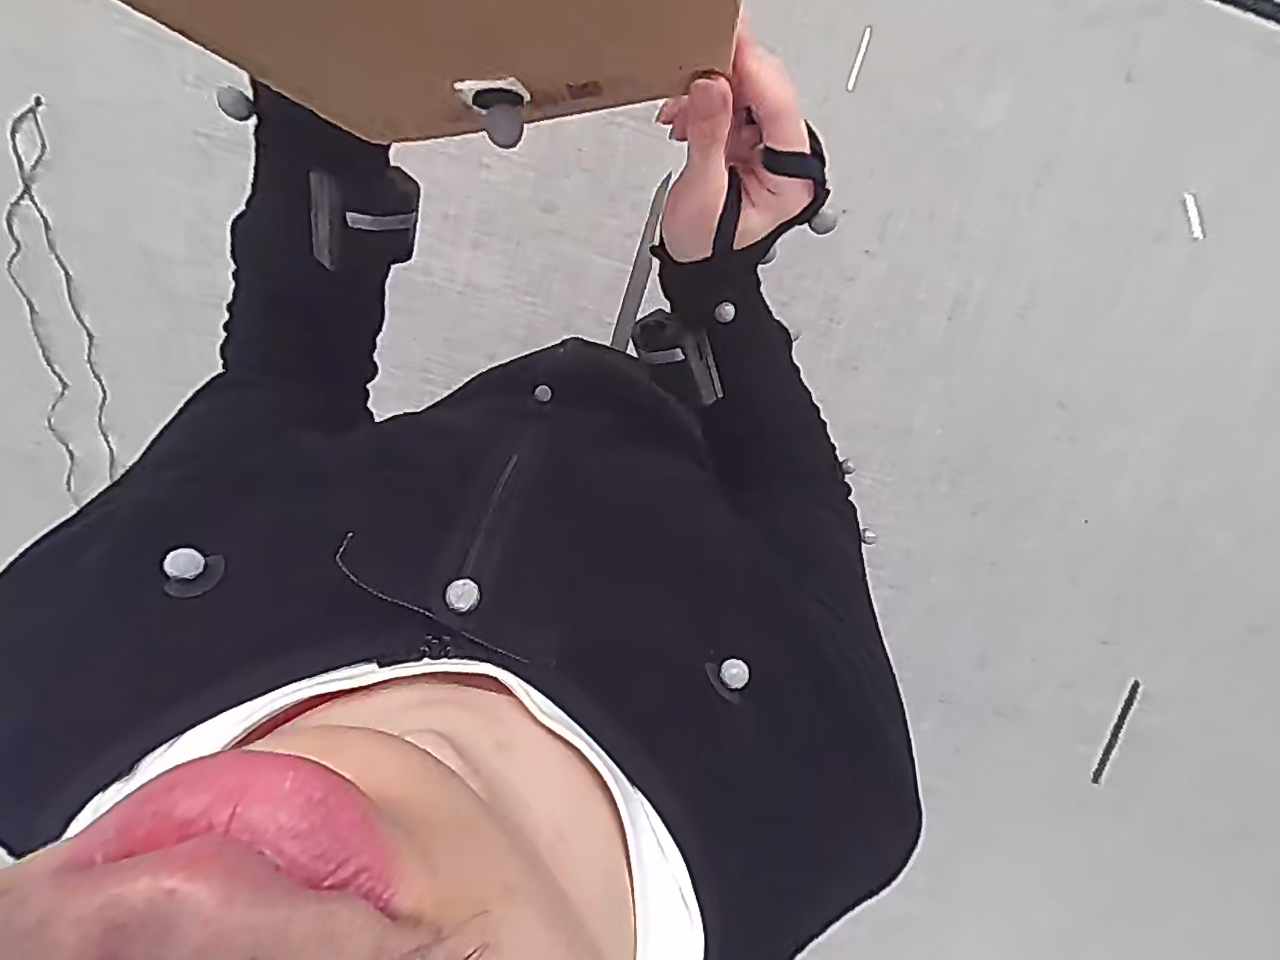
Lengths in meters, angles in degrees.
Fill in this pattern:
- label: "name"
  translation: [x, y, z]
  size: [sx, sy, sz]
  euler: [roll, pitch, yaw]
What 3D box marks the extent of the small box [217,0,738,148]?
- label: "small box"
  translation: [-0.058, -0.232, 0.161]
  size: [0.168, 0.176, 0.179]
  euler: [-6, 106, 8]
